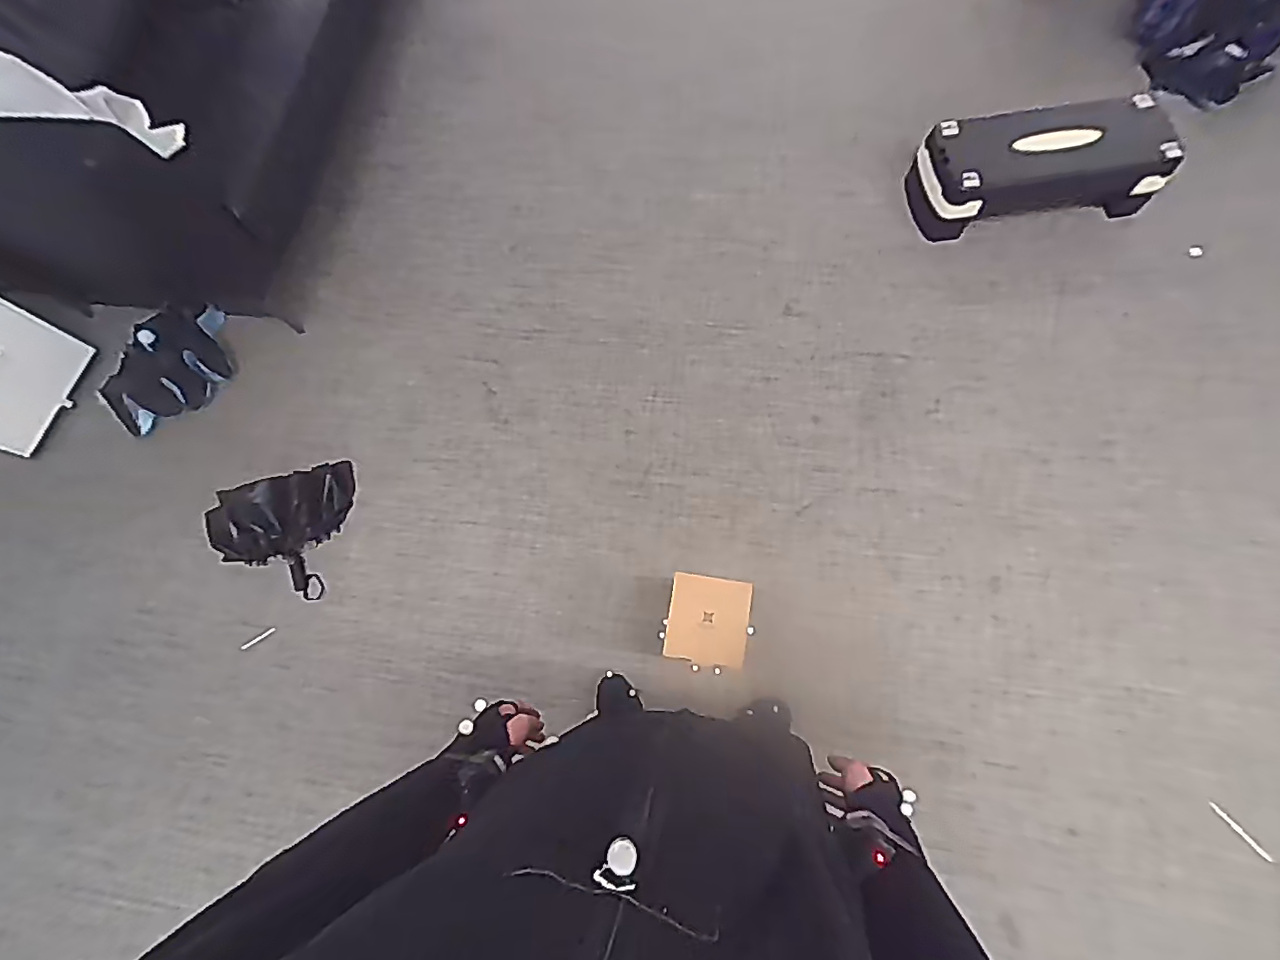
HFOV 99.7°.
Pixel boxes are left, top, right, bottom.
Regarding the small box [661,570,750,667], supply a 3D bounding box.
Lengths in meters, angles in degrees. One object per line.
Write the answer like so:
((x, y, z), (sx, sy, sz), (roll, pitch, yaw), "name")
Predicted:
((0.142, 0.309, 1.193), (0.168, 0.176, 0.179), (8, 71, 6), "small box")
